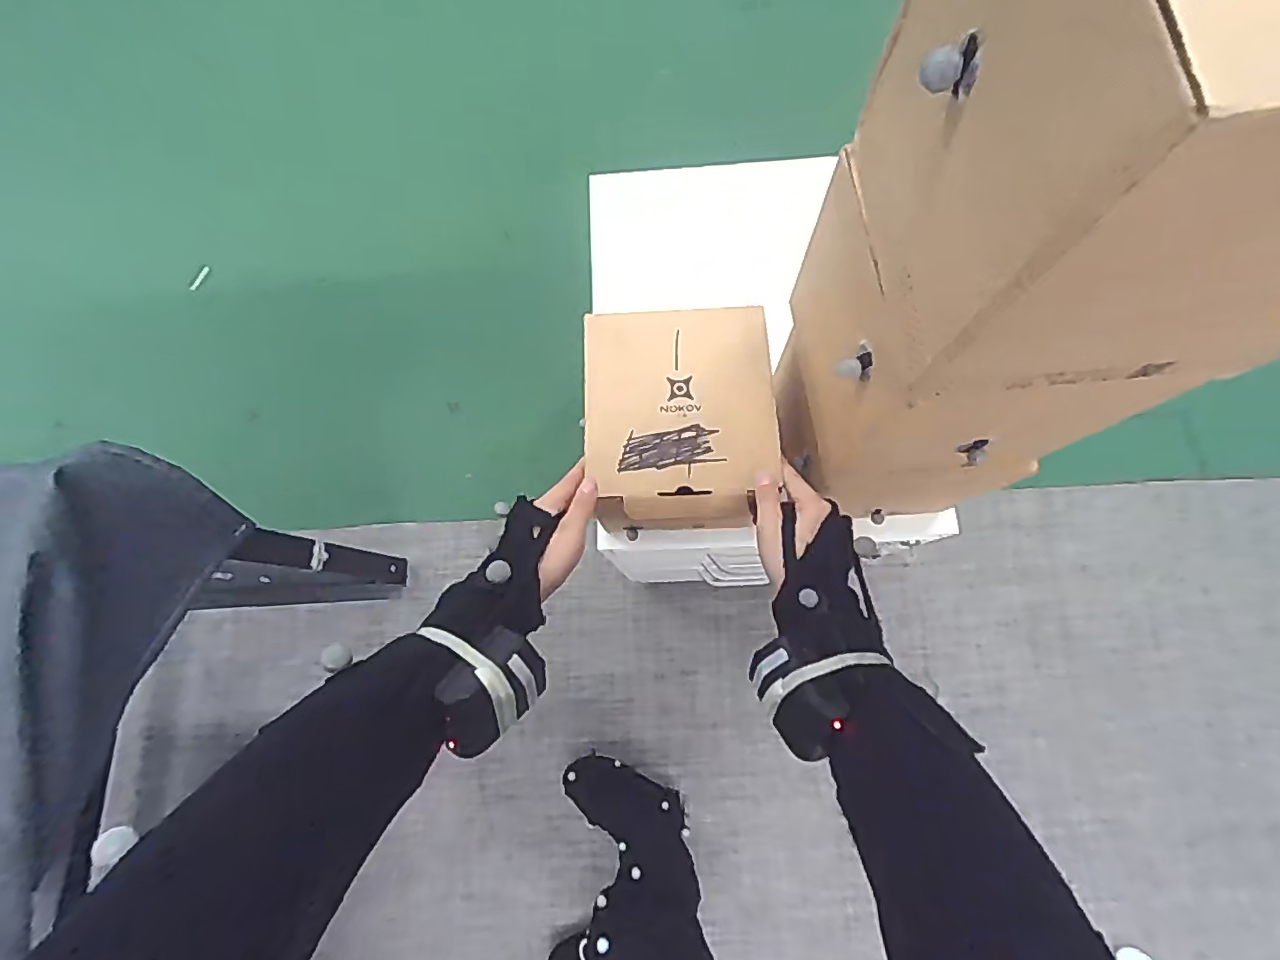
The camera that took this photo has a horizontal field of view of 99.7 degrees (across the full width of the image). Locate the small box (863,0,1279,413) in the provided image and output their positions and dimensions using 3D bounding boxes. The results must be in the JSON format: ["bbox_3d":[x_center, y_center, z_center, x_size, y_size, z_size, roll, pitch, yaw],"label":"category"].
[{"bbox_3d":[0.210,-0.144,0.223,0.168,0.176,0.179,-4,74,2],"label":"small box"}]

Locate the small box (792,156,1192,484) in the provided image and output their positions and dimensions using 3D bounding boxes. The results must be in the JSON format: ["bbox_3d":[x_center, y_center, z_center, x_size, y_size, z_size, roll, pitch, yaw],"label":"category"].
[{"bbox_3d":[0.217,-0.100,0.381,0.168,0.176,0.179,-6,75,1],"label":"small box"}]
